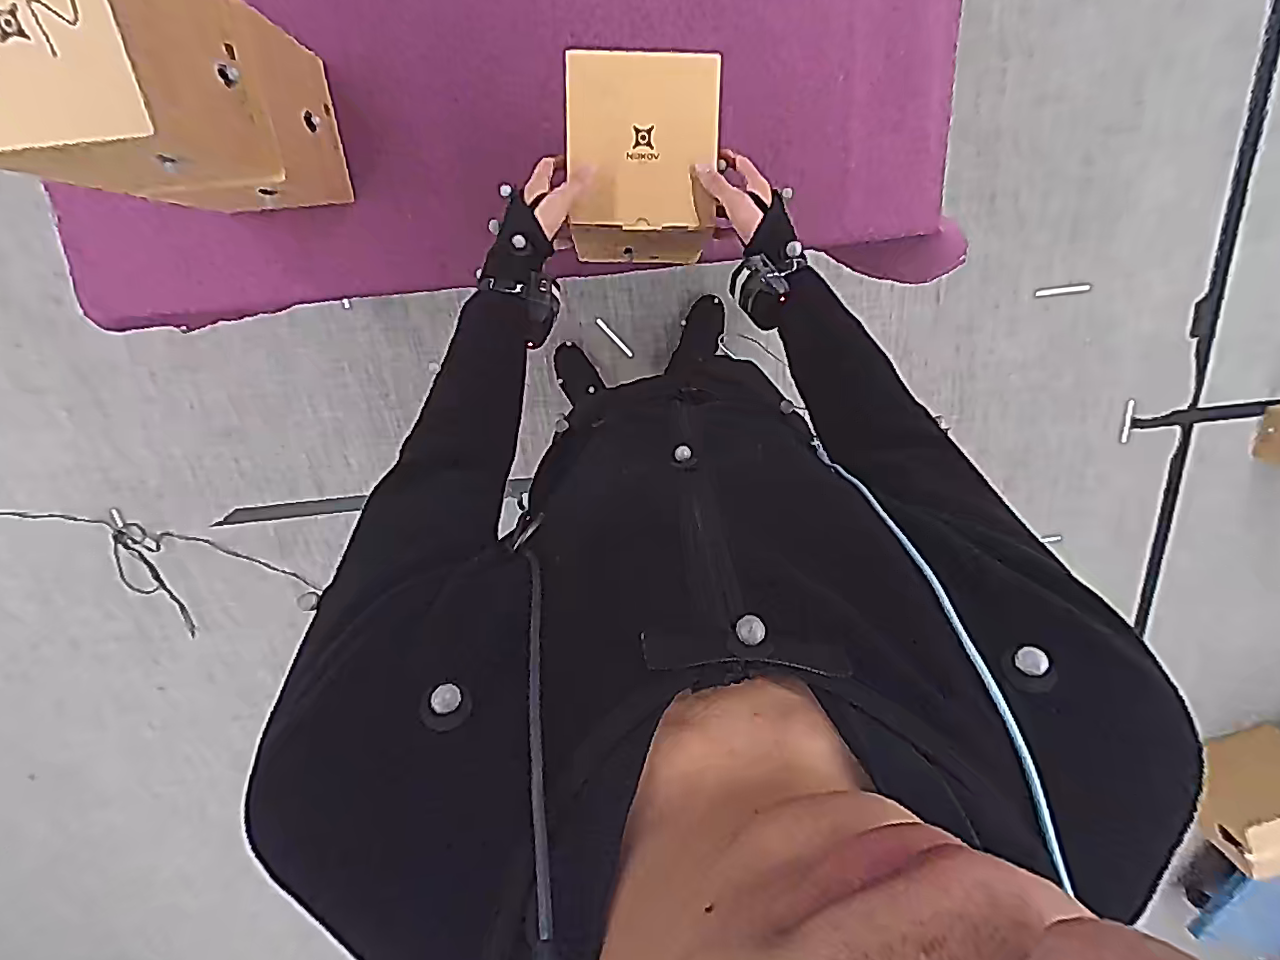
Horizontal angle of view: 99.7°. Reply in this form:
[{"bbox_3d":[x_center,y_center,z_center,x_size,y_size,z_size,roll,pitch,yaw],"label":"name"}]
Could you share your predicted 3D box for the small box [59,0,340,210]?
[{"bbox_3d":[-0.481,-0.419,0.631,0.179,0.176,0.168,-5,110,-1],"label":"small box"}]
